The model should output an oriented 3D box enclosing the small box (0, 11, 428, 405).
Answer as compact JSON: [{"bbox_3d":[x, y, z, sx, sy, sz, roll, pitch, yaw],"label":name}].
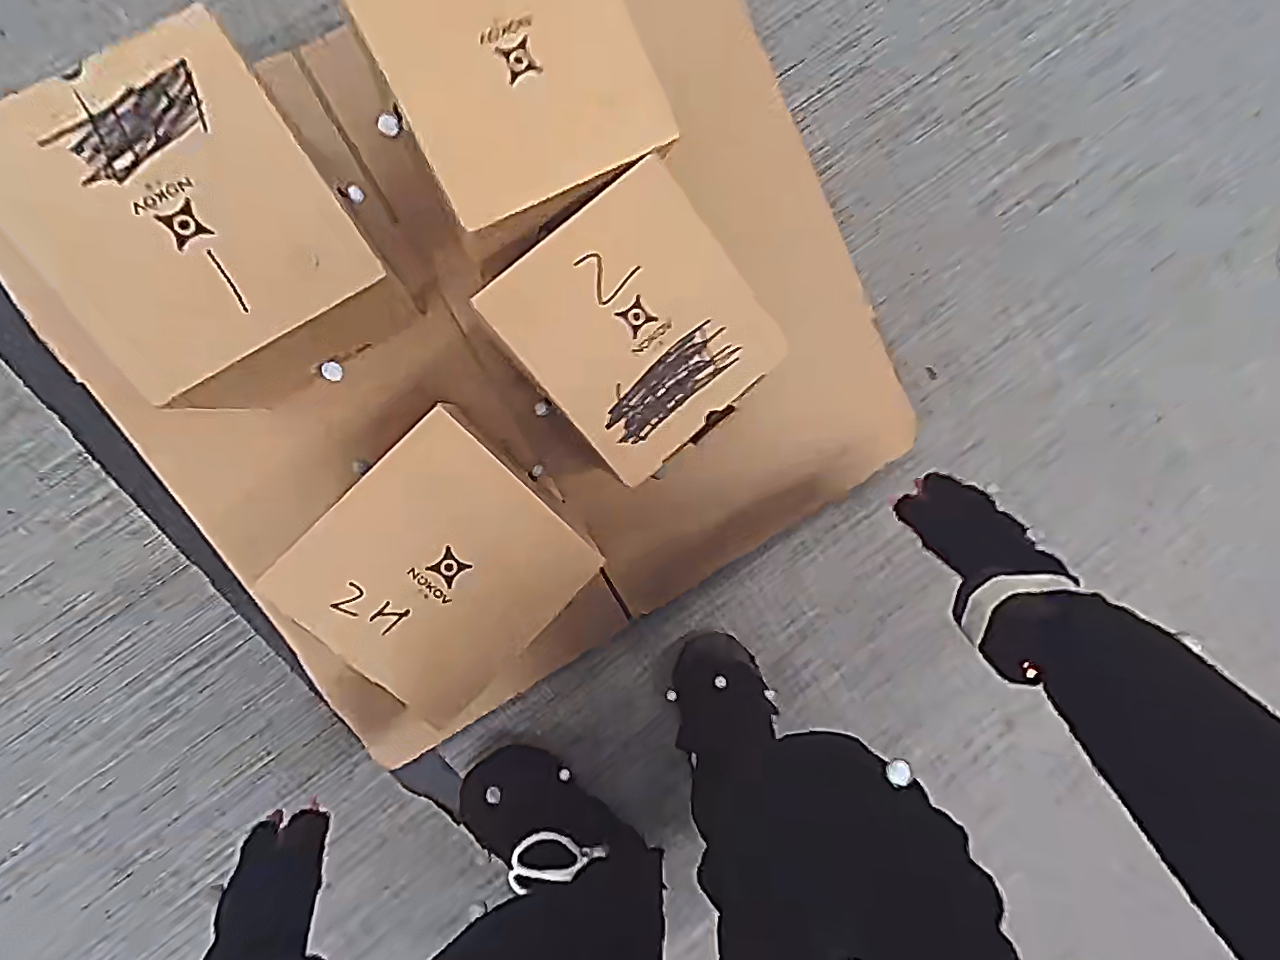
[{"bbox_3d":[-0.284,-0.167,0.397,0.168,0.176,0.179,-34,104,-6],"label":"small box"}]

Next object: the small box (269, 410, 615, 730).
[{"bbox_3d":[-0.150,0.057,0.457,0.179,0.176,0.168,-45,103,-4],"label":"small box"}]
